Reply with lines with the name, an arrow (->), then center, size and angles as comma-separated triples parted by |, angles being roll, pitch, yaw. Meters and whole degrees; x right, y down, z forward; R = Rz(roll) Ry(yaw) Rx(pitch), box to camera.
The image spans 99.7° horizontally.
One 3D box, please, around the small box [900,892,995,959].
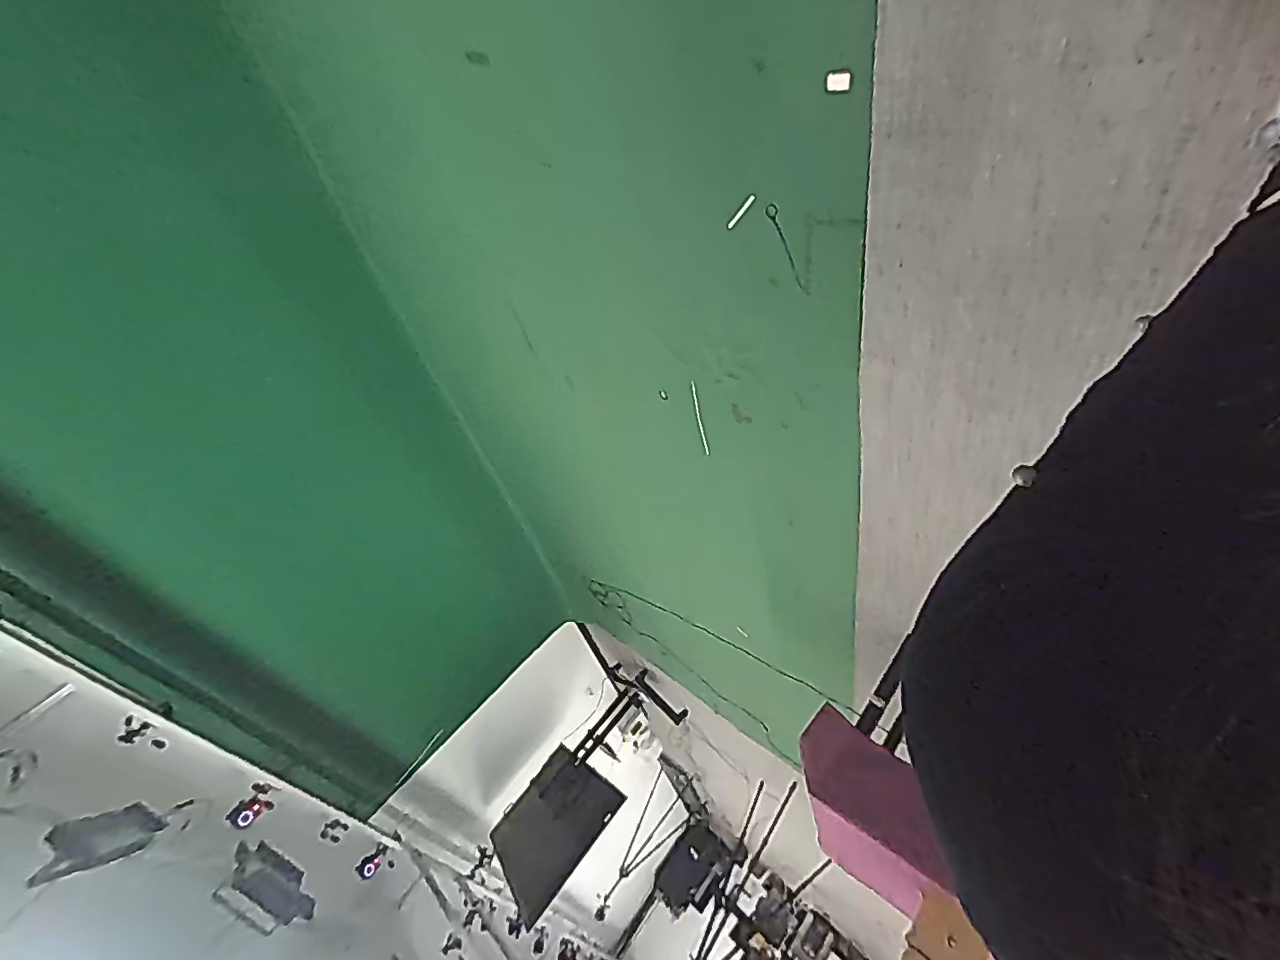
small box -> 0.854, 1.296, 1.510 | 0.179, 0.176, 0.168 | 23, 145, 38
